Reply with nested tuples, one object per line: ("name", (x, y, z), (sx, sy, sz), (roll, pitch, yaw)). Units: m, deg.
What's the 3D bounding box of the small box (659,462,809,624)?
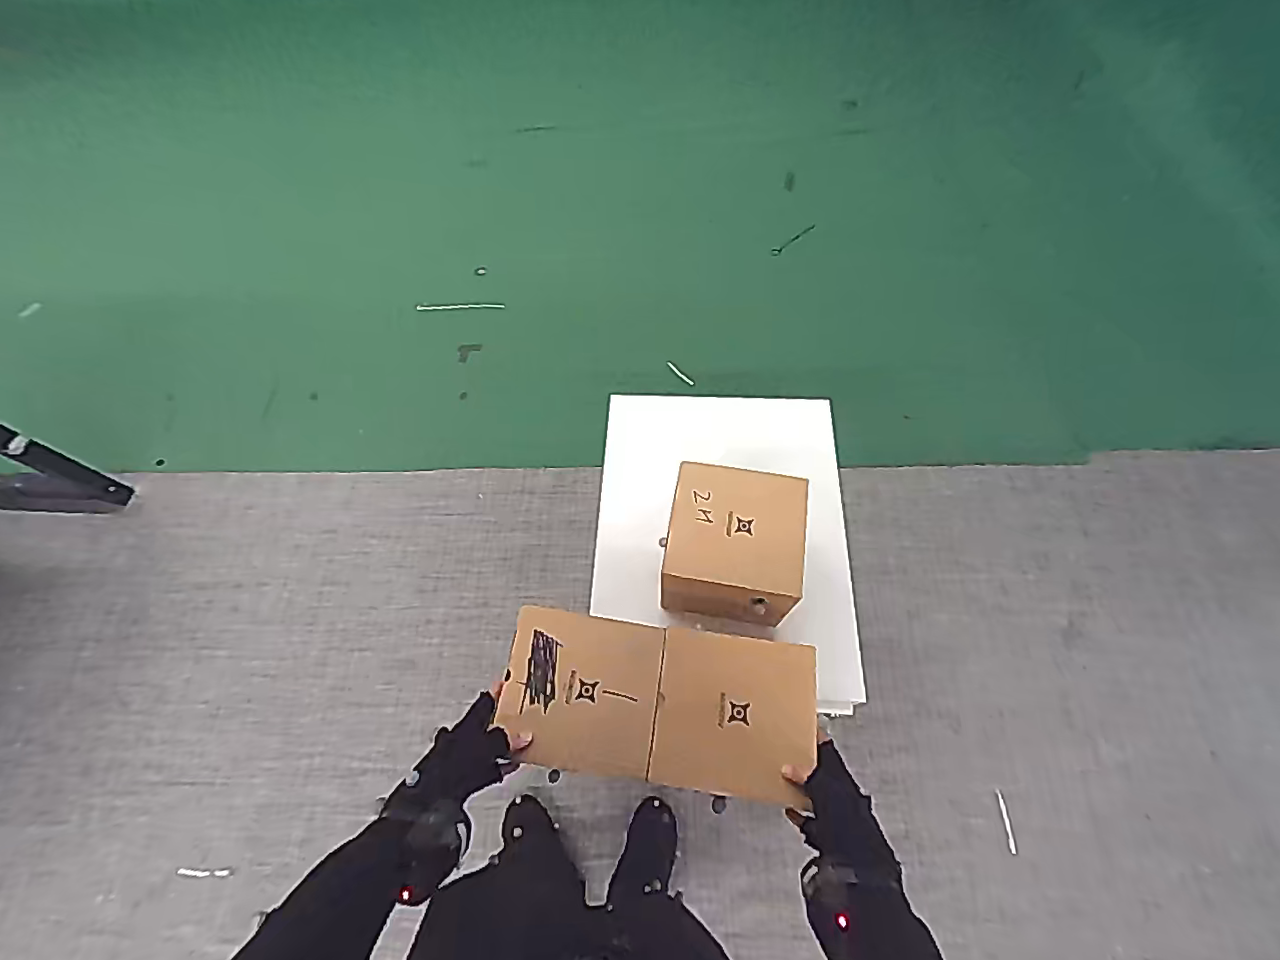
("small box", (0.127, 0.097, 0.765), (0.179, 0.176, 0.168), (9, 63, 7))
